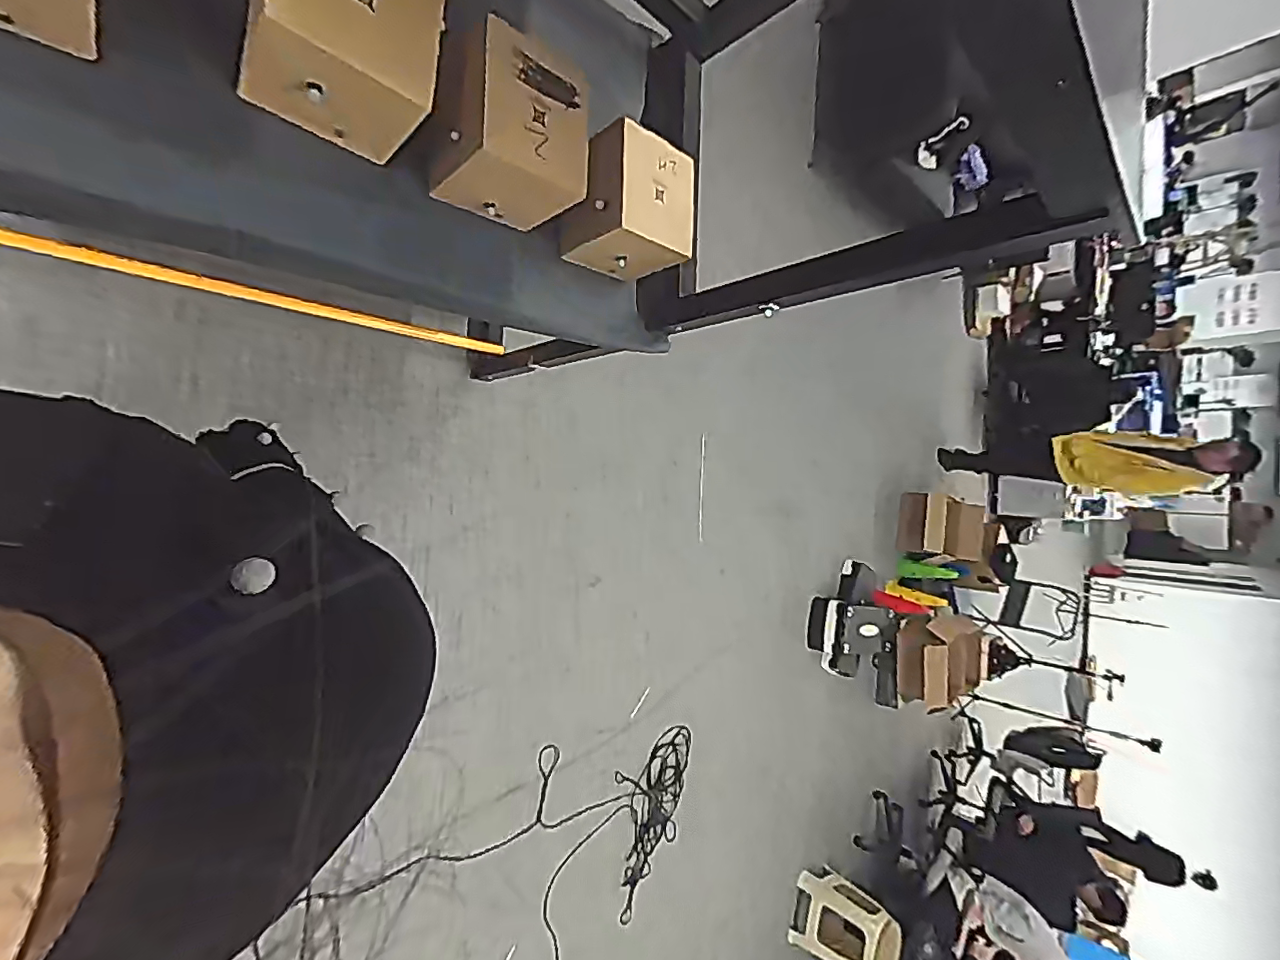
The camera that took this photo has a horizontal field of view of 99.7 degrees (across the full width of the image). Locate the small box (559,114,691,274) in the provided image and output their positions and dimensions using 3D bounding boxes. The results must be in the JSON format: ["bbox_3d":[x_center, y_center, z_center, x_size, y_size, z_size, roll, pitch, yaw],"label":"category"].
[{"bbox_3d":[-0.029,-0.480,0.946,0.168,0.176,0.179,1,91,-44],"label":"small box"}]

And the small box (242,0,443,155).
[{"bbox_3d":[-0.351,-0.530,0.638,0.168,0.176,0.179,8,86,-44],"label":"small box"}]

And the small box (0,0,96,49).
[{"bbox_3d":[-0.557,-0.515,0.435,0.168,0.176,0.179,-2,94,-44],"label":"small box"}]
